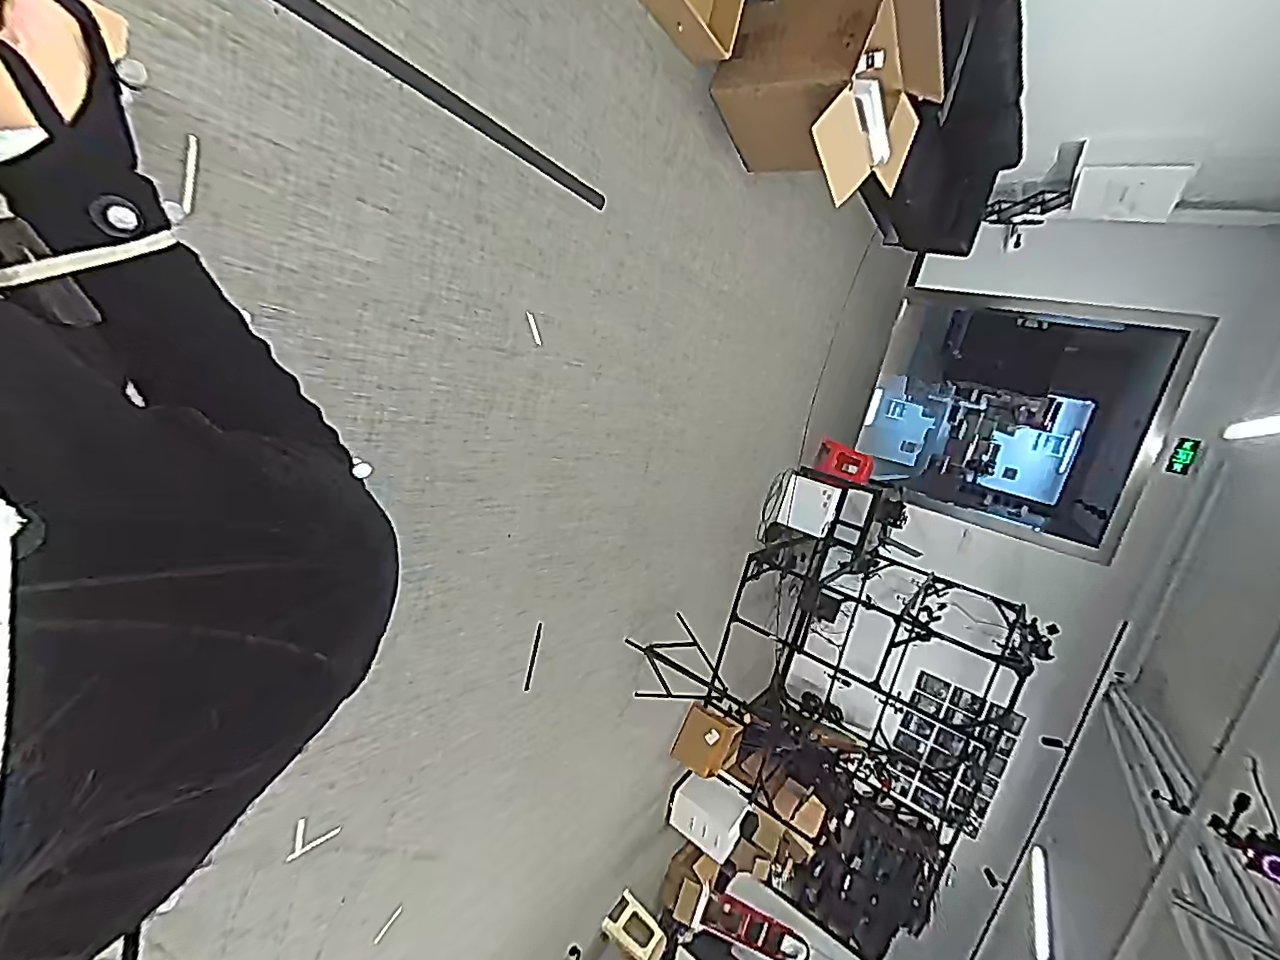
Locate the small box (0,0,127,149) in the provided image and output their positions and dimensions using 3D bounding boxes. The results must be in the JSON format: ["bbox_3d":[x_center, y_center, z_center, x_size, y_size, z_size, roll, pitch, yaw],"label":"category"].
[{"bbox_3d":[-0.867,-0.599,0.764,0.168,0.176,0.179,1,107,-56],"label":"small box"}]
